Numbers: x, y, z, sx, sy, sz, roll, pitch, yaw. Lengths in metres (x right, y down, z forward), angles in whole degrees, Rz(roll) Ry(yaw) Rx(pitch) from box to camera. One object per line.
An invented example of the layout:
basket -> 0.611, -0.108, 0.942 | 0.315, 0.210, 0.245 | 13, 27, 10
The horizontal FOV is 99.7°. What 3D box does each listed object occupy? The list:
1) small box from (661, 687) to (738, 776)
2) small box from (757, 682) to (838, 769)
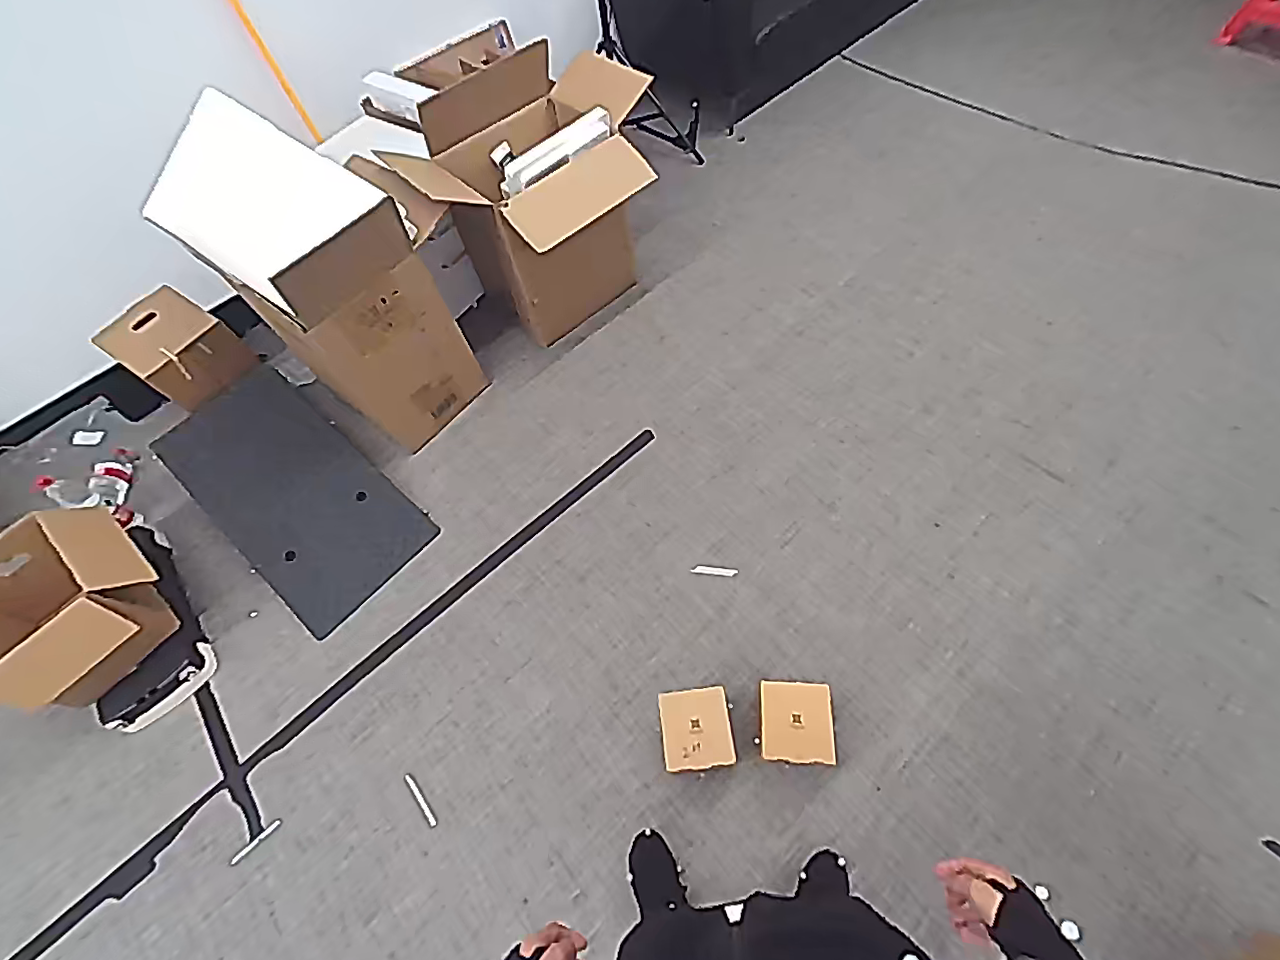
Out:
small box -> 0.146, 0.636, 1.360 | 0.168, 0.176, 0.179 | -9, 60, 4
small box -> 0.383, 0.612, 1.344 | 0.168, 0.176, 0.179 | 0, 61, 8
